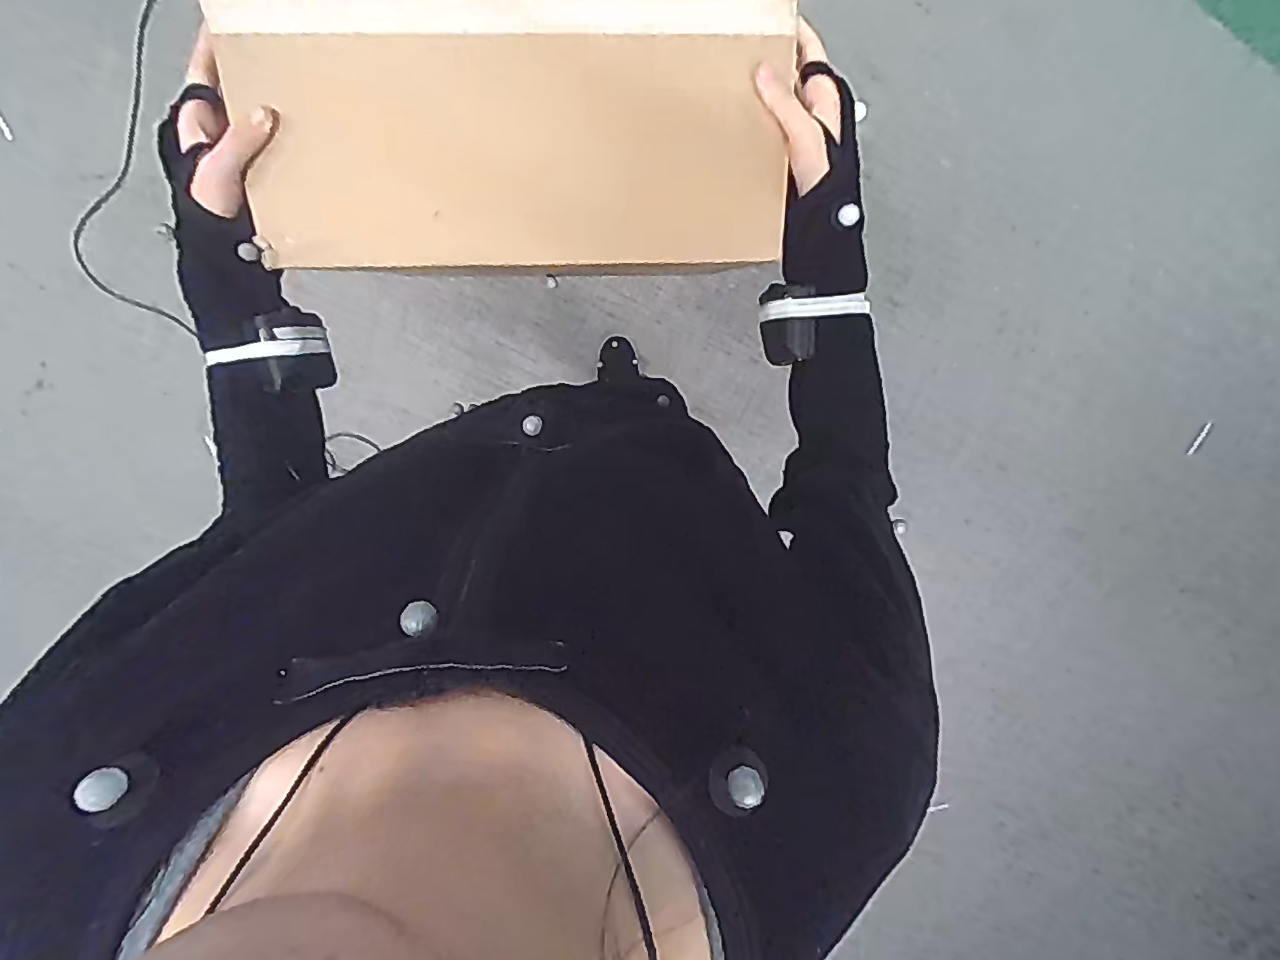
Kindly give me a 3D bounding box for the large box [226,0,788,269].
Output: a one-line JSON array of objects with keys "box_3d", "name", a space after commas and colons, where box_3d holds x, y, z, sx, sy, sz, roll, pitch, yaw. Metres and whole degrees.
[{"box_3d": [-0.095, -0.378, 0.528, 0.408, 0.320, 0.320, -2, 110, -2], "name": "large box"}]
